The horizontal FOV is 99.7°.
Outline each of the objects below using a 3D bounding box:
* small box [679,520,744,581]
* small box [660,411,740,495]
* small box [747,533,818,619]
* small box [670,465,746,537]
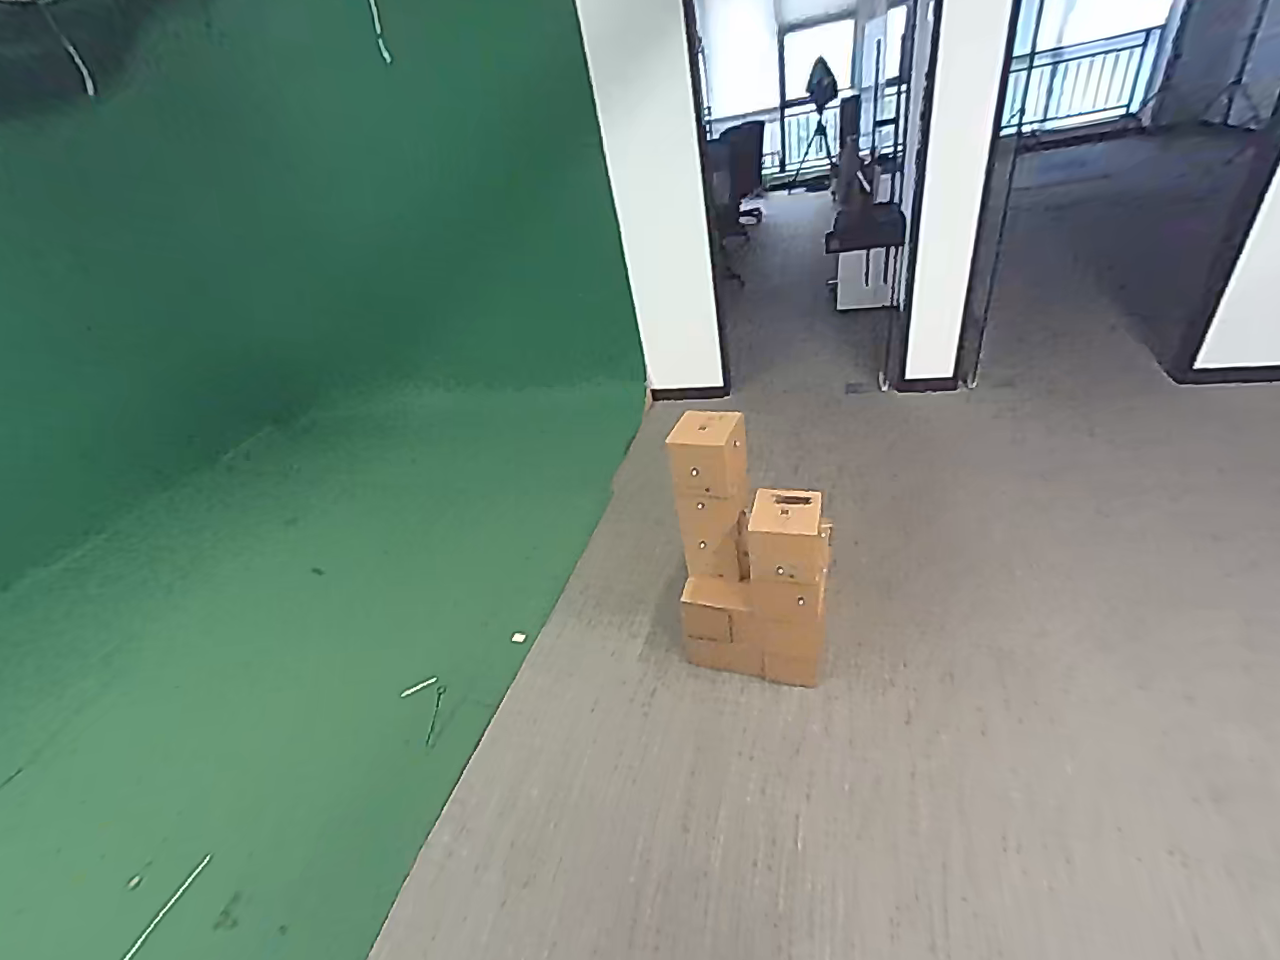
[{"bbox_3d":[0.229,0.188,1.687,0.168,0.176,0.179,2,35,22],"label":"small box"},{"bbox_3d":[0.174,-0.076,1.495,0.168,0.176,0.179,6,37,26],"label":"small box"},{"bbox_3d":[0.401,0.269,1.510,0.179,0.176,0.168,1,35,20],"label":"small box"},{"bbox_3d":[0.205,0.053,1.590,0.179,0.176,0.168,-1,35,22],"label":"small box"}]
